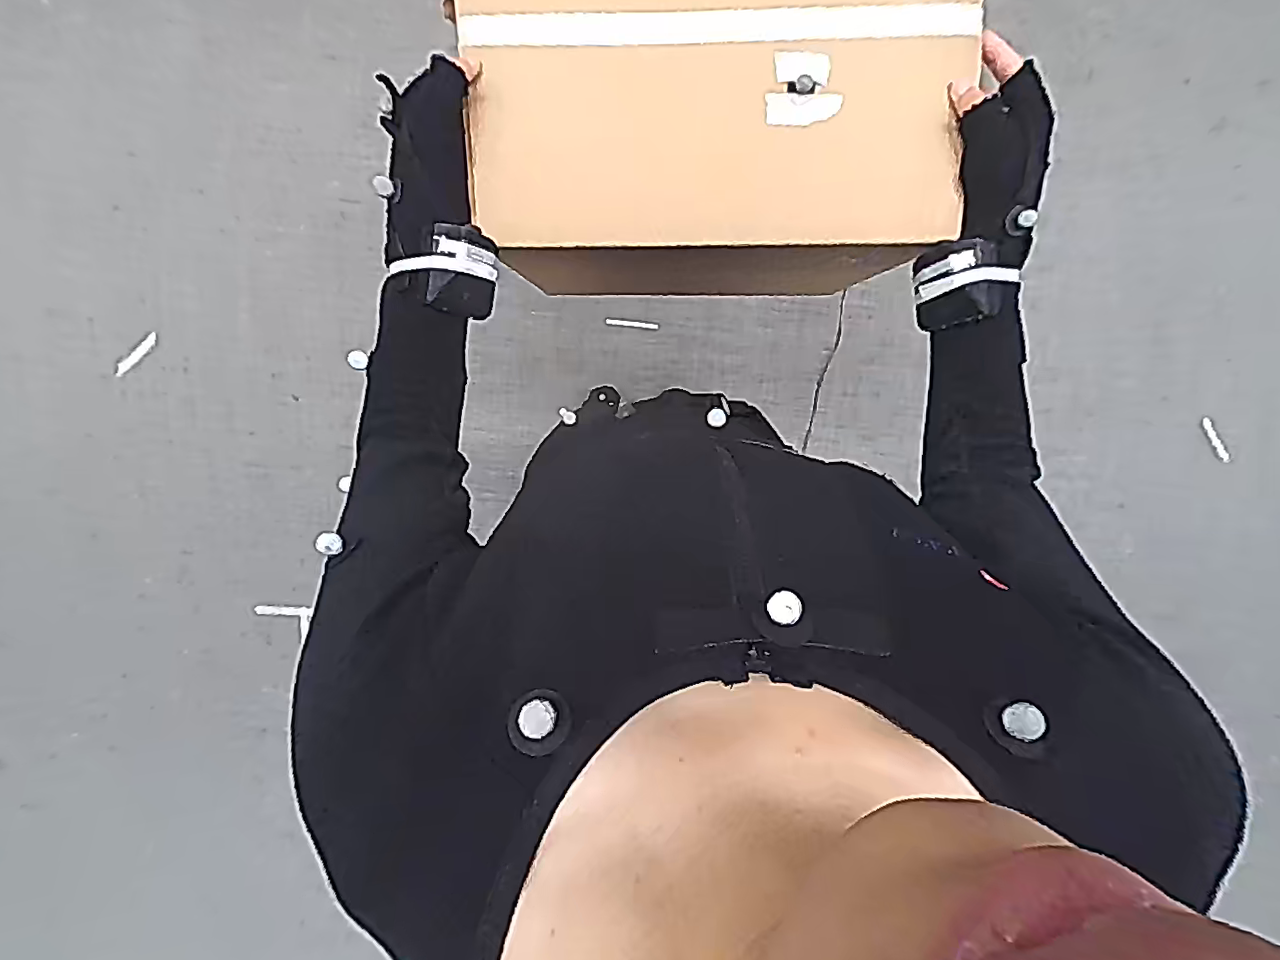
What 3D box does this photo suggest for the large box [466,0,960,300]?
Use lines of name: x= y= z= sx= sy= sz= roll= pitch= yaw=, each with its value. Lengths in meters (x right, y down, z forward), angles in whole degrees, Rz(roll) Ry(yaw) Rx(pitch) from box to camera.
large box: x=0.058 y=-0.382 z=0.587 sx=0.408 sy=0.320 sz=0.320 roll=-1 pitch=102 yaw=1
